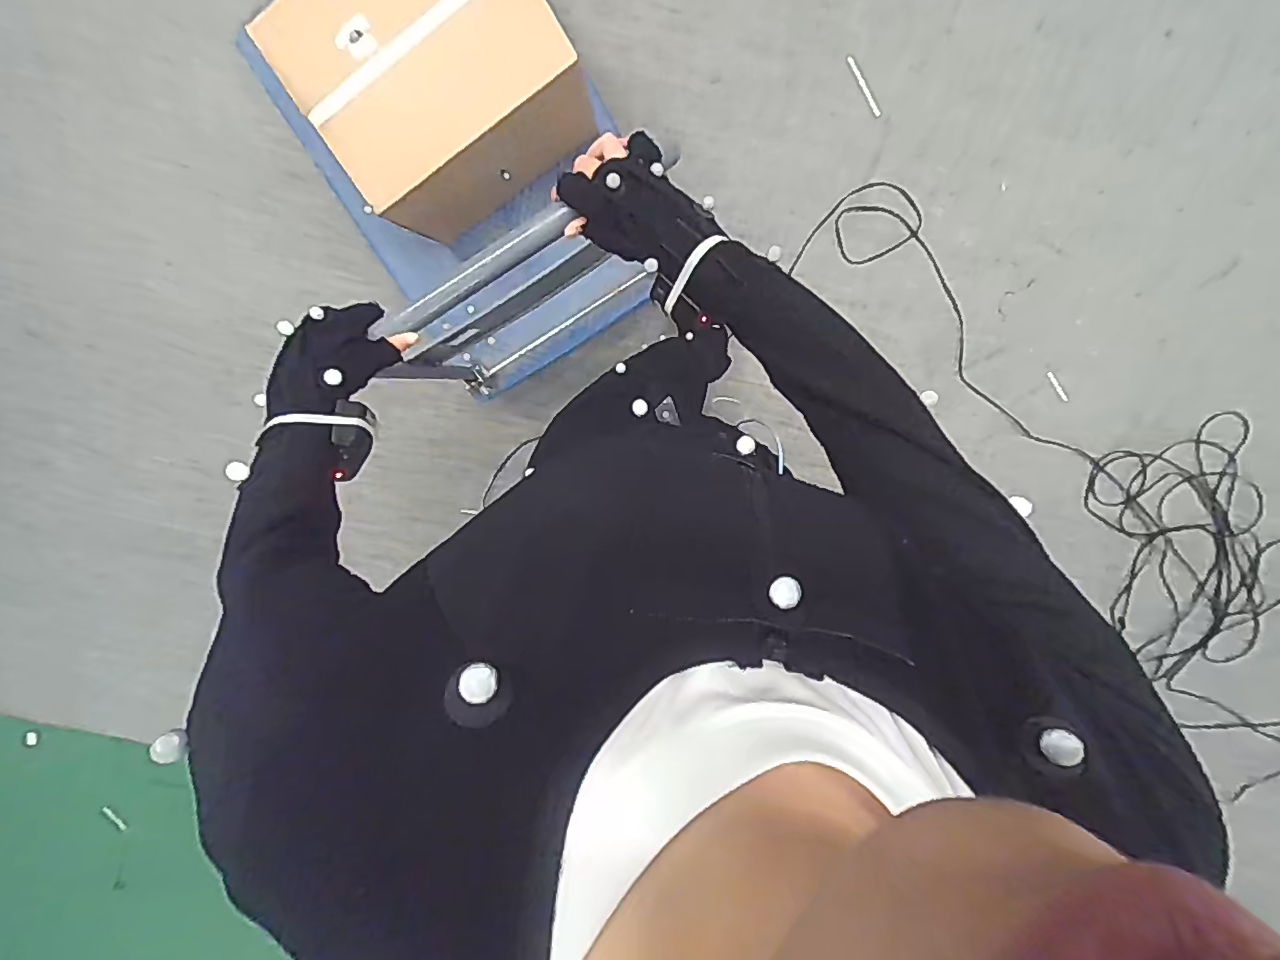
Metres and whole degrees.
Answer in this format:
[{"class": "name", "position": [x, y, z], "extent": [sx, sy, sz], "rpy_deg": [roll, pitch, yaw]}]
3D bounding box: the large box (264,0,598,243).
[{"class": "large box", "position": [-0.335, -0.702, 0.980], "extent": [0.408, 0.320, 0.320], "rpy_deg": [-32, 101, 10]}]
